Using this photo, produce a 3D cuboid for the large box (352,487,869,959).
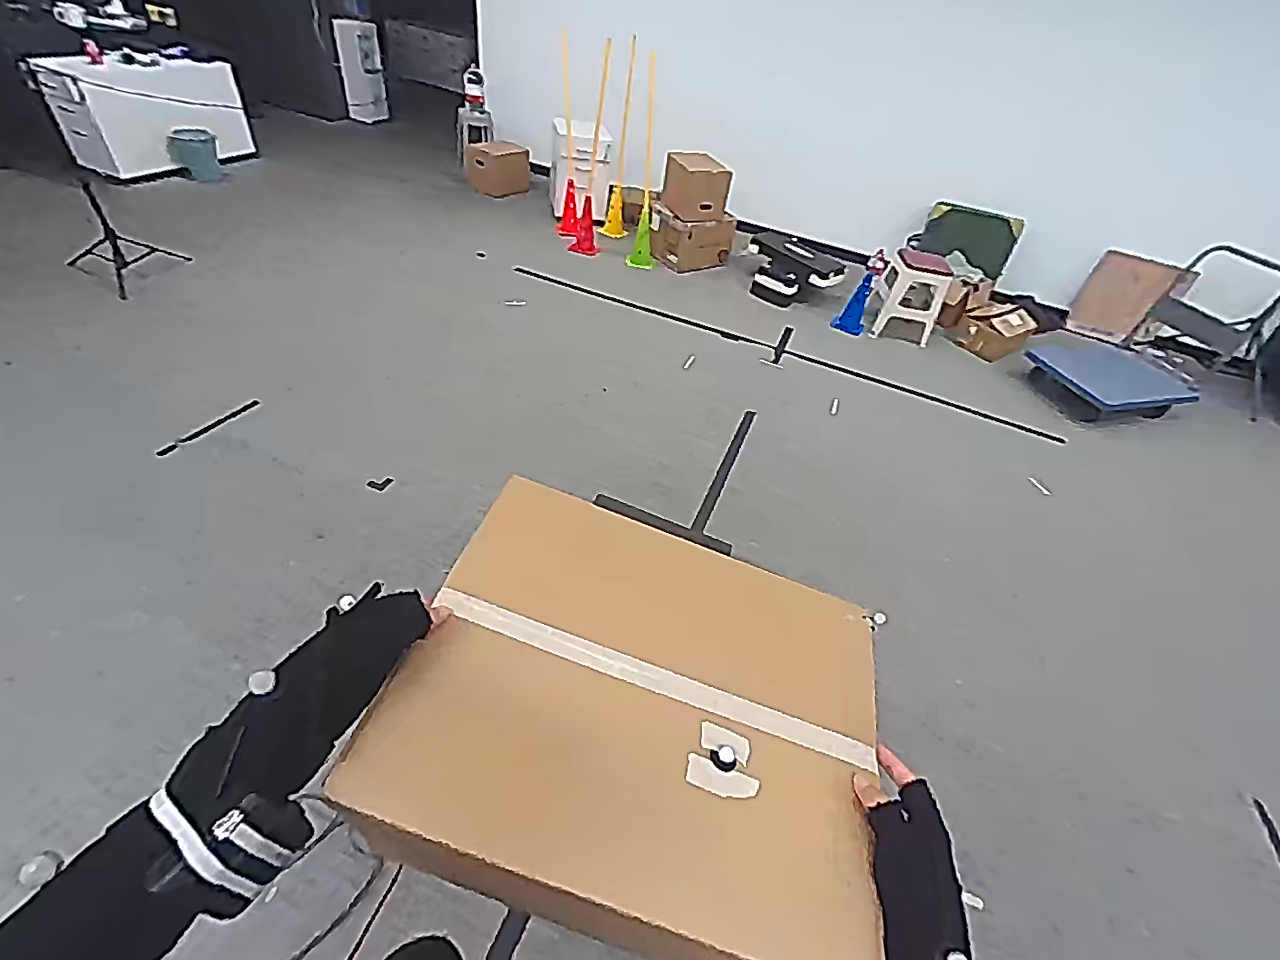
[{"bbox_3d":[-0.023,0.273,0.592,0.408,0.320,0.320,21,47,0],"label":"large box"}]
